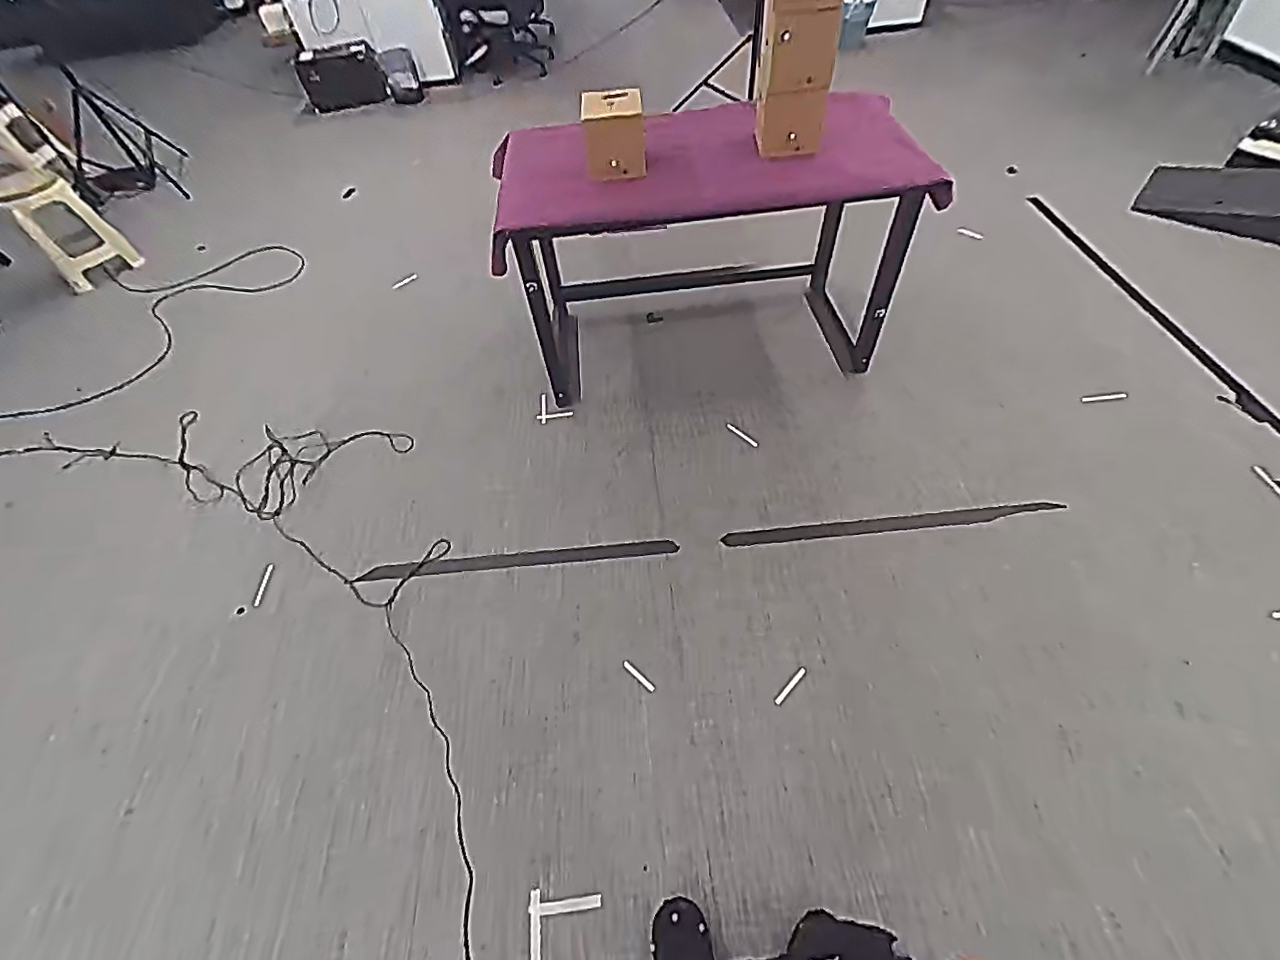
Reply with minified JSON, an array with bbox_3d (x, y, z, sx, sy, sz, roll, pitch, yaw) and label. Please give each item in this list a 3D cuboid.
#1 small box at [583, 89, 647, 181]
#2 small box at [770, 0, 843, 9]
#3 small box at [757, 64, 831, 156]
[{"bbox_3d":[-0.068,-0.984,1.545,0.168,0.176,0.179,-5,54,2],"label":"small box"},{"bbox_3d":[0.404,-1.247,1.286,0.168,0.176,0.179,0,53,5],"label":"small box"},{"bbox_3d":[0.434,-1.059,1.552,0.168,0.176,0.179,-2,54,5],"label":"small box"}]
